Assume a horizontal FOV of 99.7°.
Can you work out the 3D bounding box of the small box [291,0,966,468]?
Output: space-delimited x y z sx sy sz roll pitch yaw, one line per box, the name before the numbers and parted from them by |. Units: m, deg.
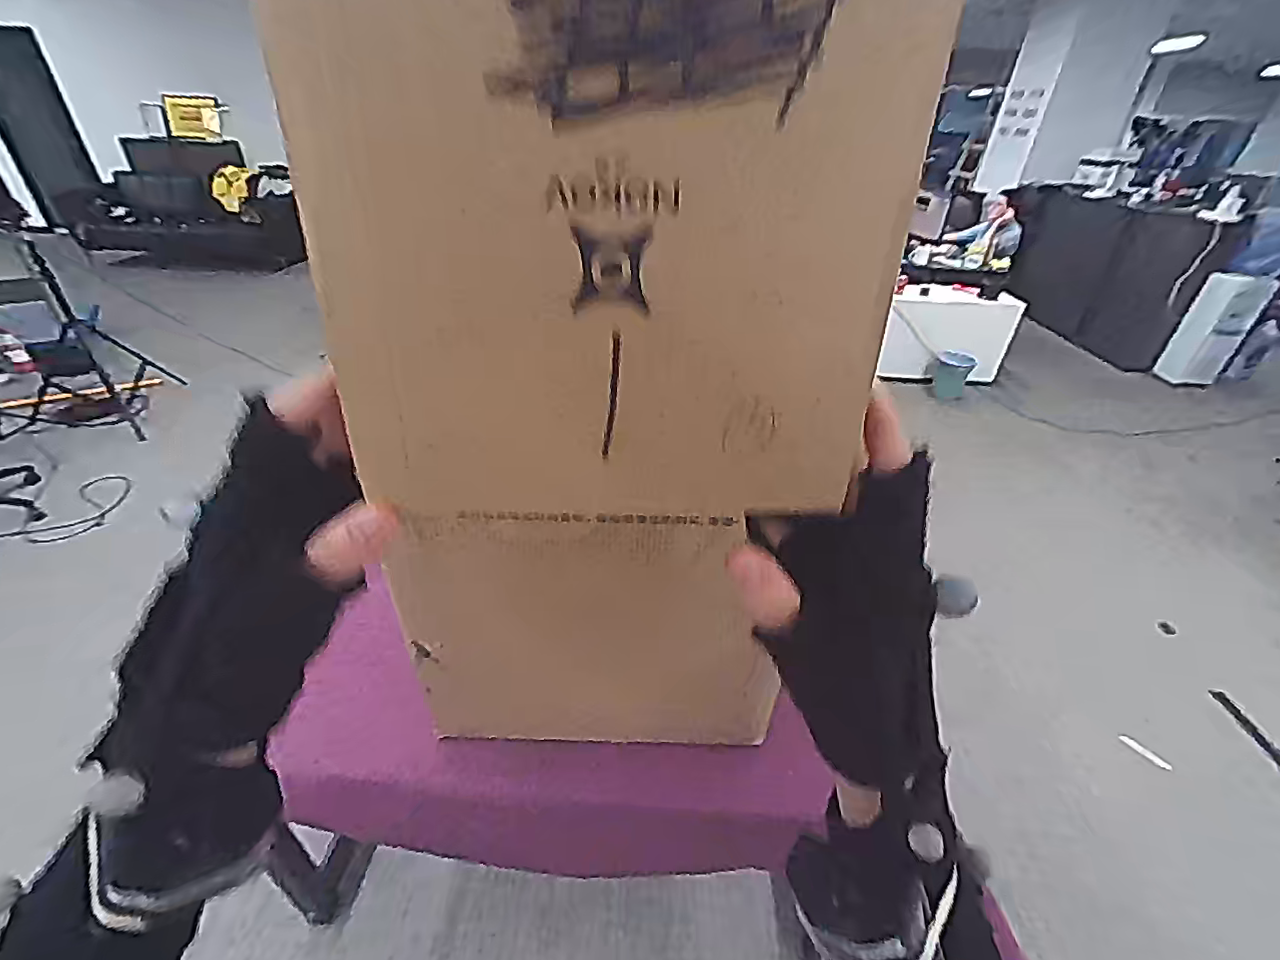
small box | -0.008 -0.116 0.218 0.168 0.179 0.176 0 24 -4
